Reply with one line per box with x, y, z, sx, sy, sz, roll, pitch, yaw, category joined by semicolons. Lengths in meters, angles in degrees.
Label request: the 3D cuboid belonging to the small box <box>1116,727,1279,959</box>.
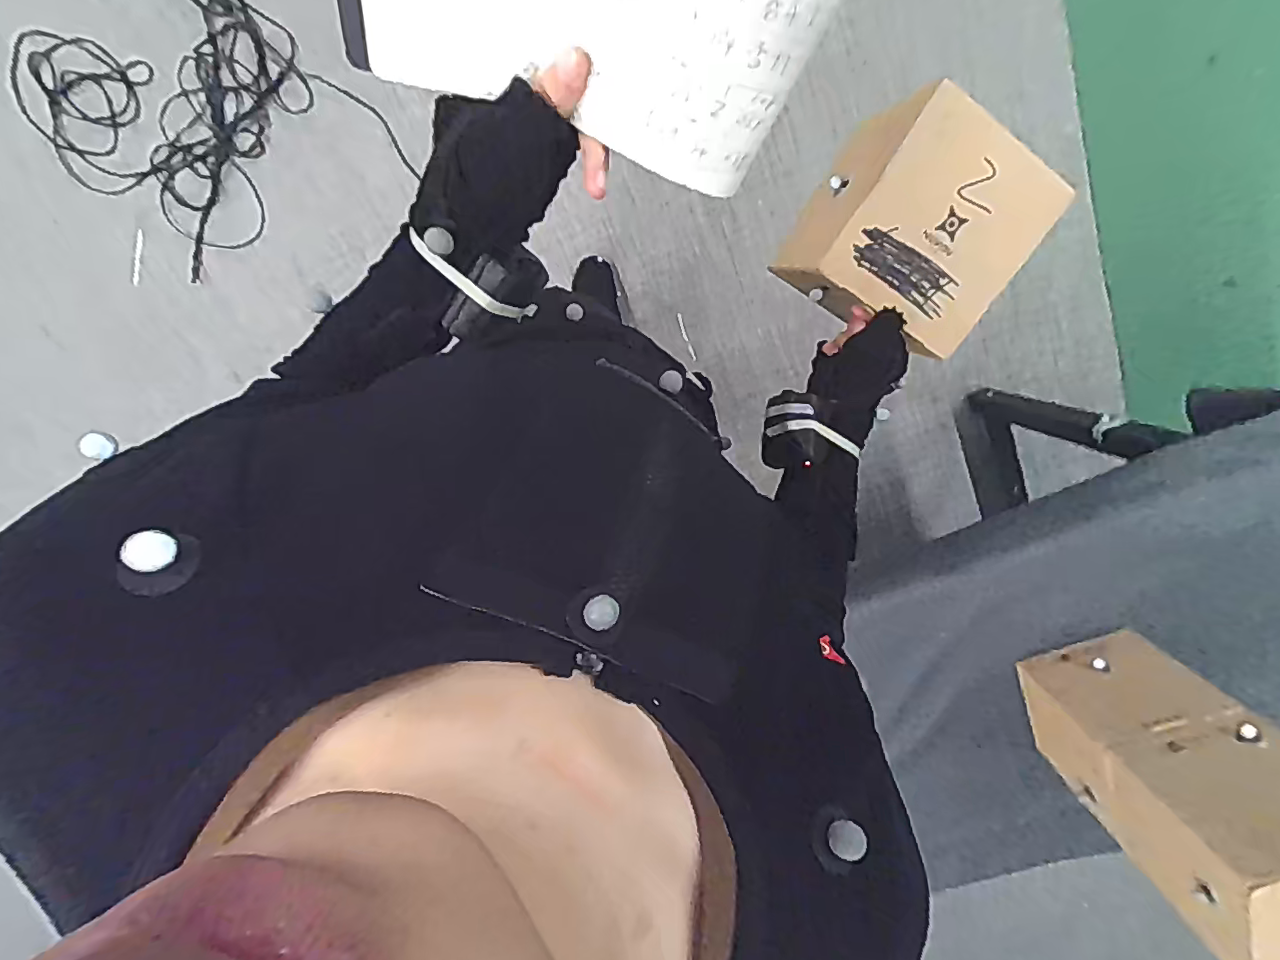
0.672;0.401;0.591;0.168;0.176;0.179;-20;107;7;small box

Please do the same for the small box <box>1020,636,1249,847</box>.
0.671;0.351;0.747;0.168;0.176;0.179;-22;106;7;small box
